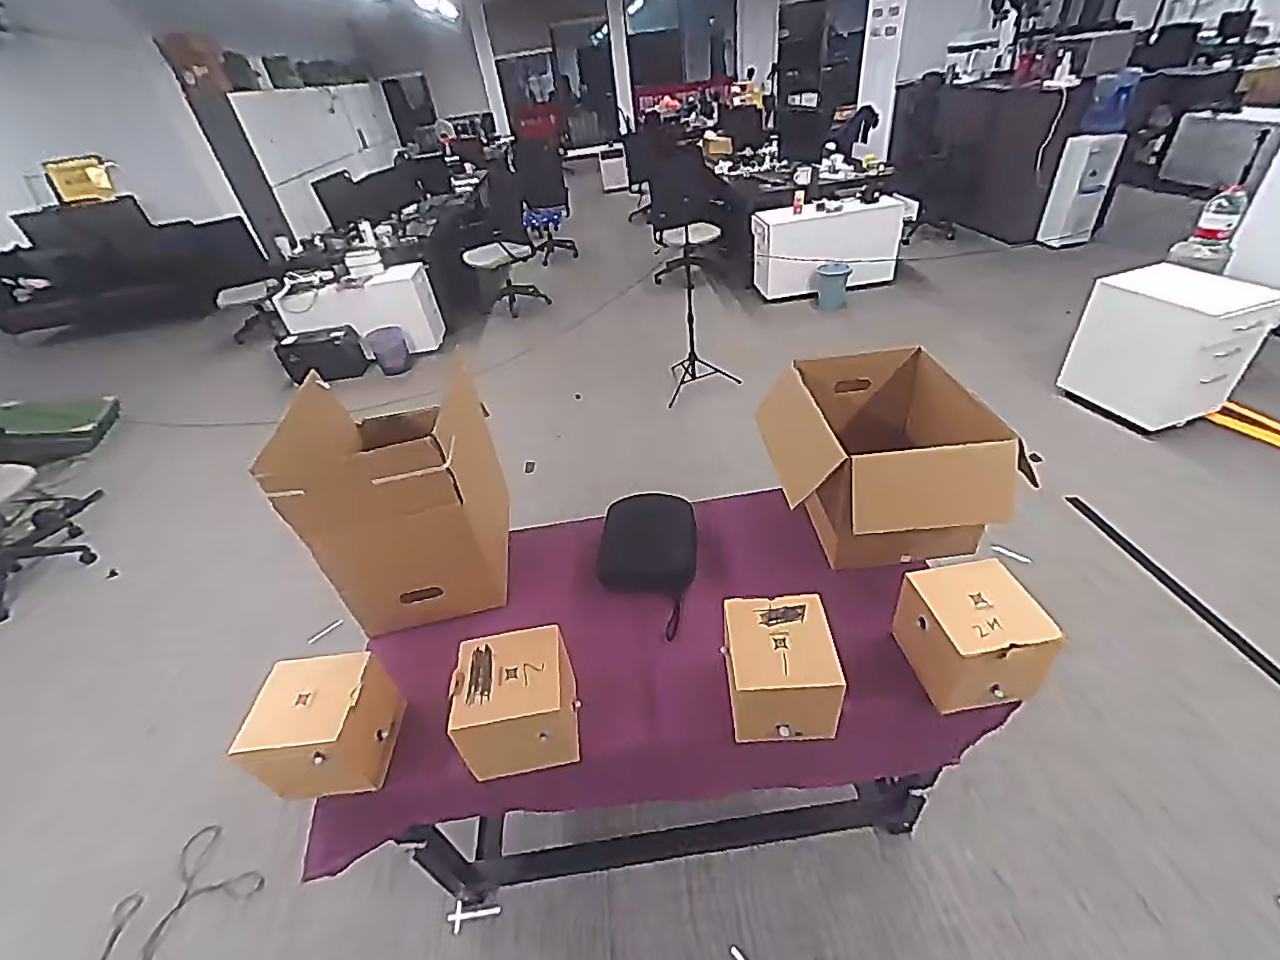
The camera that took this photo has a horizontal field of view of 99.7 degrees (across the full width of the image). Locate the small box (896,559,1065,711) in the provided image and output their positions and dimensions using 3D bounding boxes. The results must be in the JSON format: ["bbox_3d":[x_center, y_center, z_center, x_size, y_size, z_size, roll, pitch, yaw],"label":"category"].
[{"bbox_3d":[0.566,0.265,0.931,0.168,0.176,0.179,-10,38,0],"label":"small box"}]

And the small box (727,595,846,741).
[{"bbox_3d":[0.238,0.320,0.926,0.168,0.176,0.179,-5,39,5],"label":"small box"}]

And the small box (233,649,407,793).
[{"bbox_3d":[-0.540,0.423,0.943,0.179,0.176,0.168,-6,37,1],"label":"small box"}]
